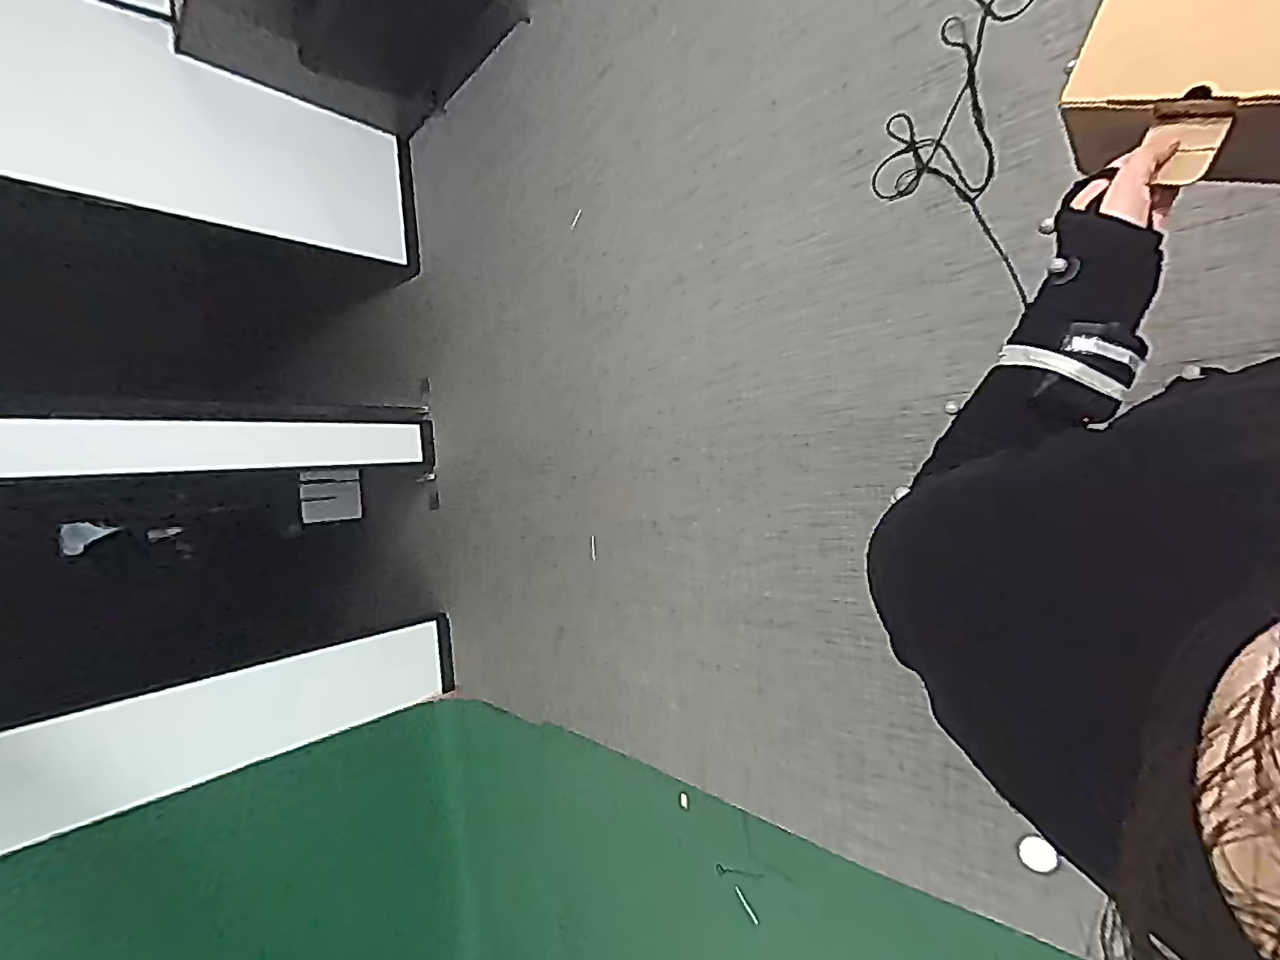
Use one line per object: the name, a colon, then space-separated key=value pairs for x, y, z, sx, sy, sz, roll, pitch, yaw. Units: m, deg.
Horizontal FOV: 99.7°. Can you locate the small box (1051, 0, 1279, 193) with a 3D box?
small box: x=0.463 y=-0.350 z=0.424 sx=0.168 sy=0.176 sz=0.179 roll=29 pitch=114 yaw=38
